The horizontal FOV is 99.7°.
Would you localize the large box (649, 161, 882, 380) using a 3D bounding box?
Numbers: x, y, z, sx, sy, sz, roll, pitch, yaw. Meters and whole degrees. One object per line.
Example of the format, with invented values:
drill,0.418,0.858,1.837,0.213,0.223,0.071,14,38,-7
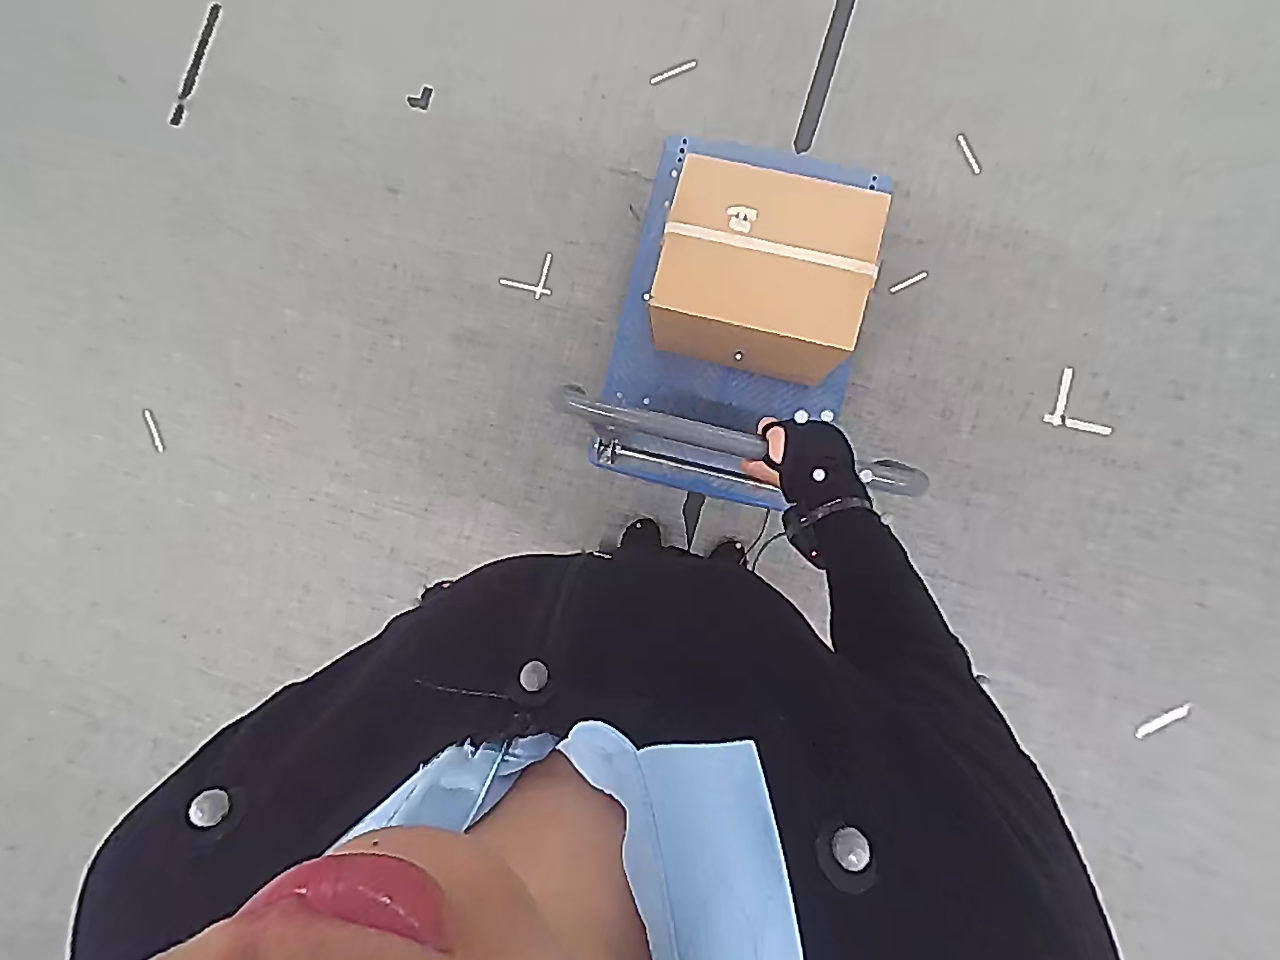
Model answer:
large box,0.256,-0.438,1.202,0.408,0.320,0.320,14,87,5
